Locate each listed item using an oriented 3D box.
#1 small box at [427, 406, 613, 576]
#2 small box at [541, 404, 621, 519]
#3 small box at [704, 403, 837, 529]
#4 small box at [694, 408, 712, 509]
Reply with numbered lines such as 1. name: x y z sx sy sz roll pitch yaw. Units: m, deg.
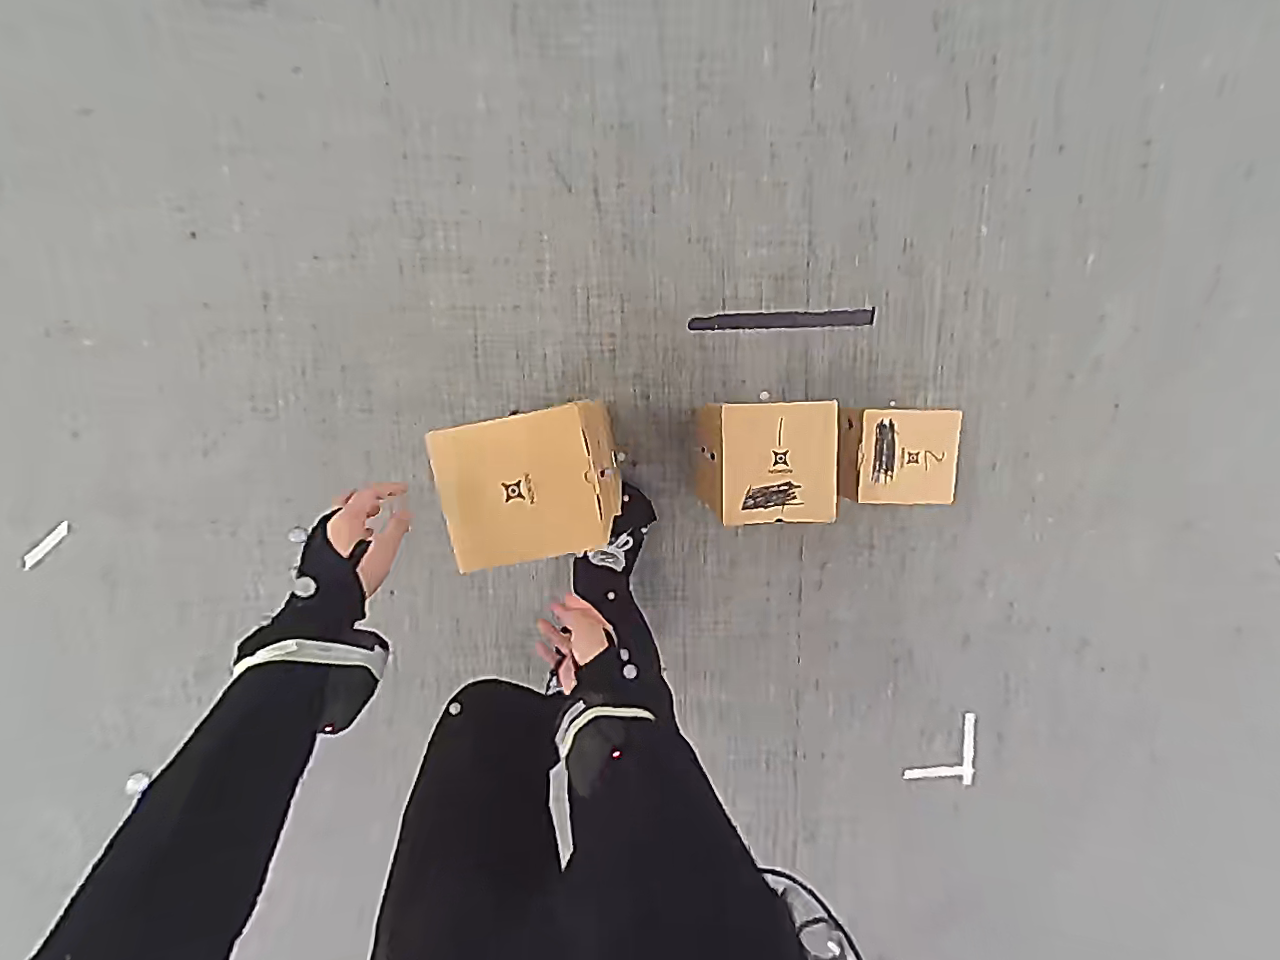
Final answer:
1. small box: -0.135 0.004 0.678 0.179 0.176 0.168 -12 99 0
2. small box: -0.129 -0.021 0.839 0.179 0.176 0.168 -12 100 -1
3. small box: 0.194 -0.029 0.842 0.168 0.176 0.179 -2 98 -1
4. small box: 0.193 -0.043 1.006 0.168 0.176 0.179 2 99 -1
